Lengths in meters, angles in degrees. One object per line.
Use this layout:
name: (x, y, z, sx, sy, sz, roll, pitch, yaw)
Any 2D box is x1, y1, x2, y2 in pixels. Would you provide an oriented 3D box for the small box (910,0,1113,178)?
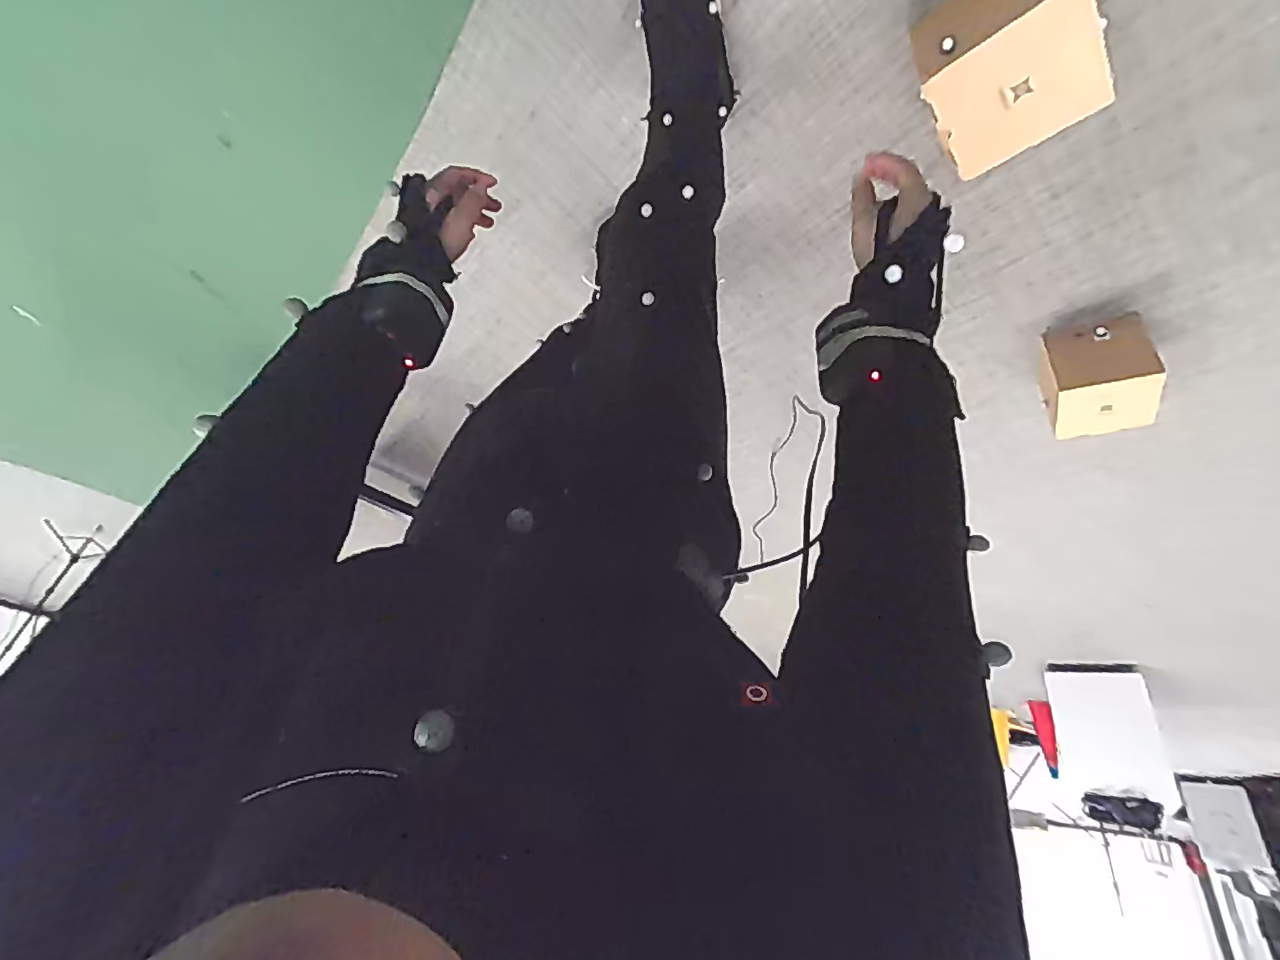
small box: (0.484, -0.562, 0.721, 0.179, 0.176, 0.168, -19, 139, 41)

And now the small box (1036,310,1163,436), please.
small box: (0.958, -0.223, 1.144, 0.168, 0.176, 0.179, -11, 142, 30)
